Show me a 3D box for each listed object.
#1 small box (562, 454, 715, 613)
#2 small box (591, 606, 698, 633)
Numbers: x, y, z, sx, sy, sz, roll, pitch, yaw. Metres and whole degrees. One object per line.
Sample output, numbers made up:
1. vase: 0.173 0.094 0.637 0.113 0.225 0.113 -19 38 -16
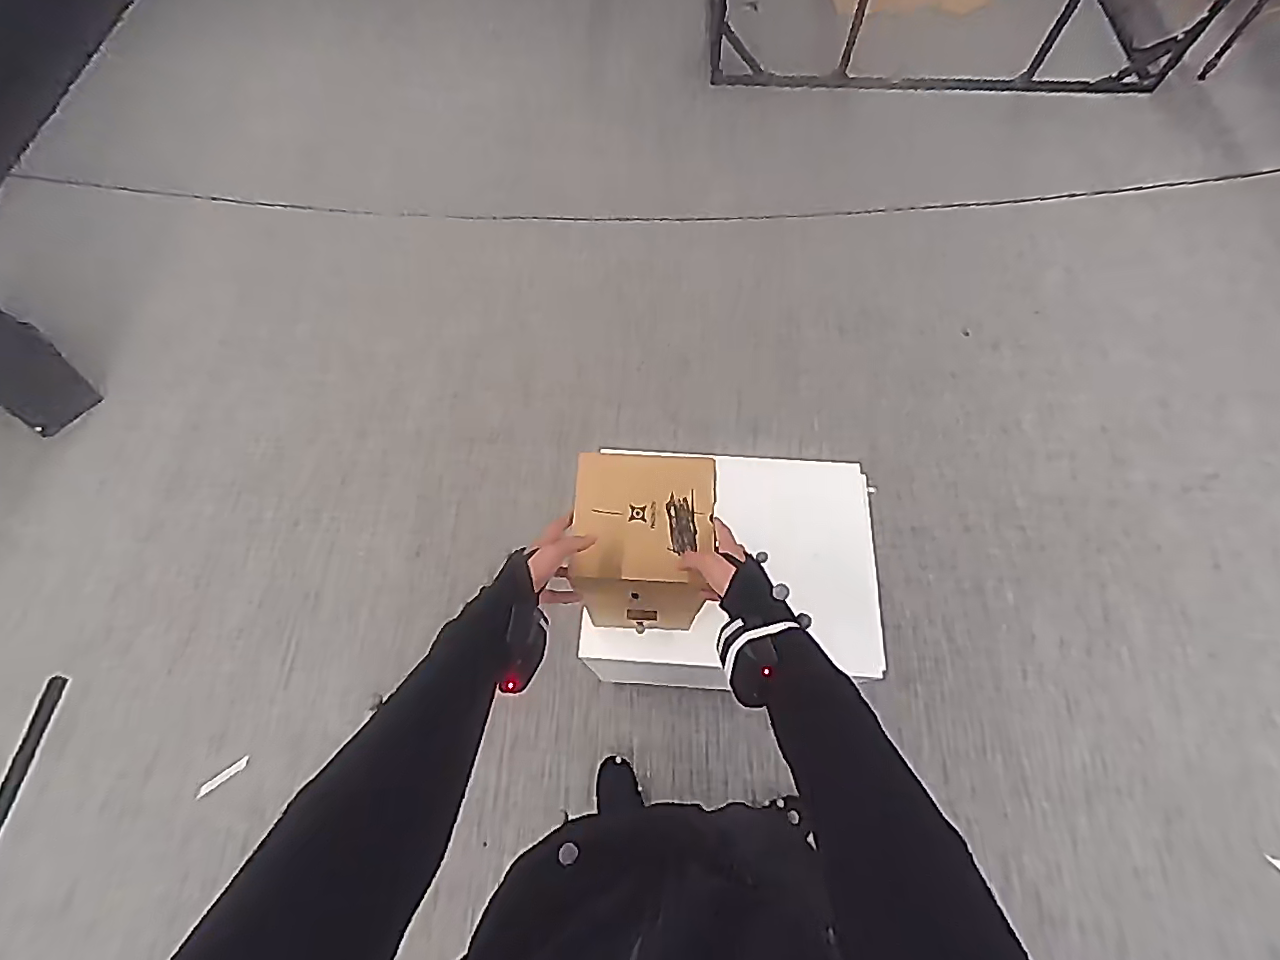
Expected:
1. small box: 0.002 0.078 0.718 0.179 0.176 0.168 2 66 2
2. small box: 0.006 0.140 0.873 0.168 0.176 0.179 2 66 2
